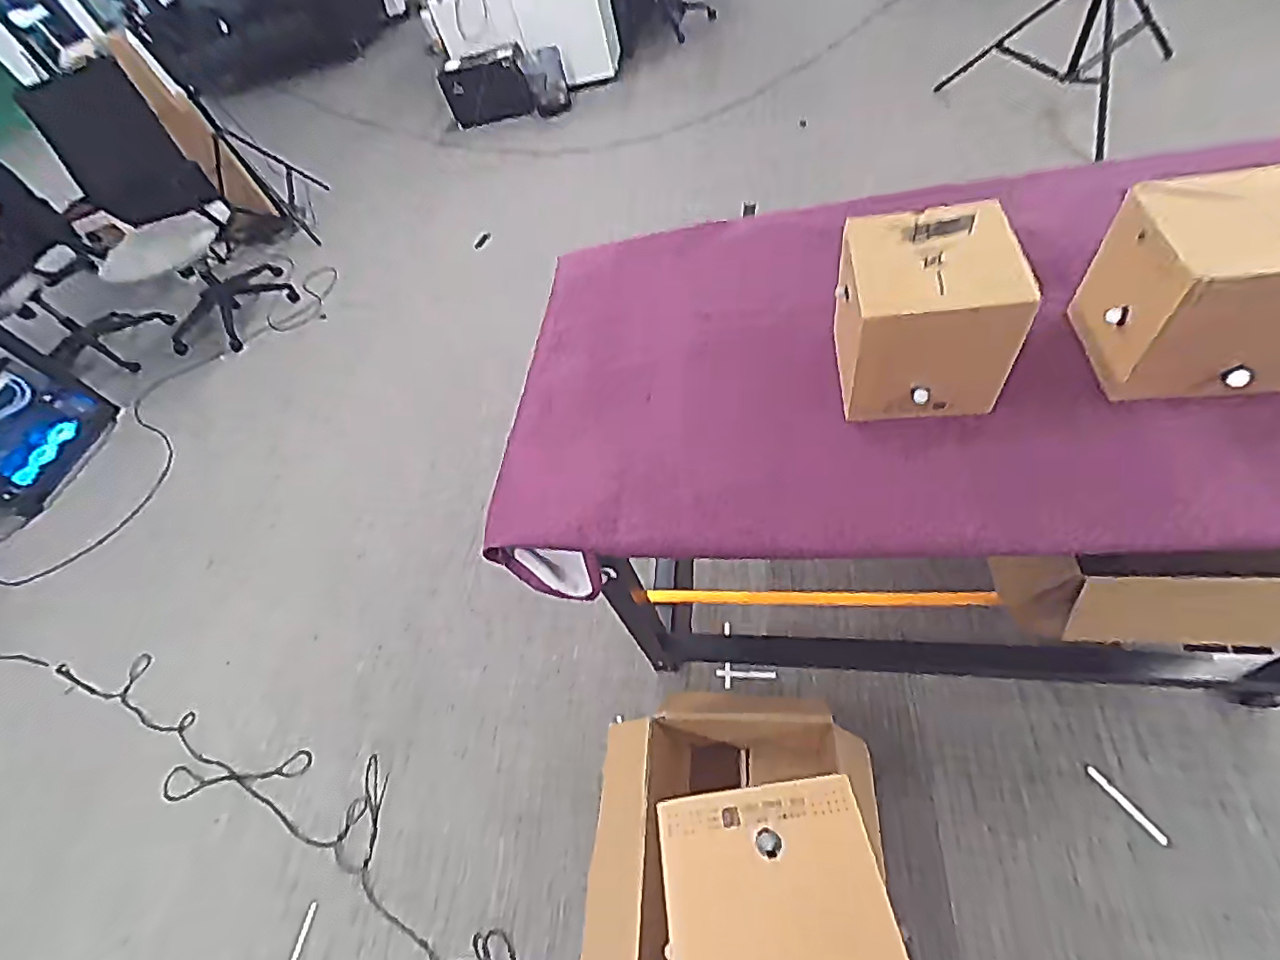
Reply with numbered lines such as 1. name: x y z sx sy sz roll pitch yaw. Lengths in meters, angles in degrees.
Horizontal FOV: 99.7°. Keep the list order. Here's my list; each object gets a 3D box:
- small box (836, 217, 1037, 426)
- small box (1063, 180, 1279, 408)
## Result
1. small box: 0.337 -0.186 0.659 0.168 0.176 0.179 -2 55 14
2. small box: 0.617 -0.199 0.588 0.179 0.176 0.168 -1 53 15
